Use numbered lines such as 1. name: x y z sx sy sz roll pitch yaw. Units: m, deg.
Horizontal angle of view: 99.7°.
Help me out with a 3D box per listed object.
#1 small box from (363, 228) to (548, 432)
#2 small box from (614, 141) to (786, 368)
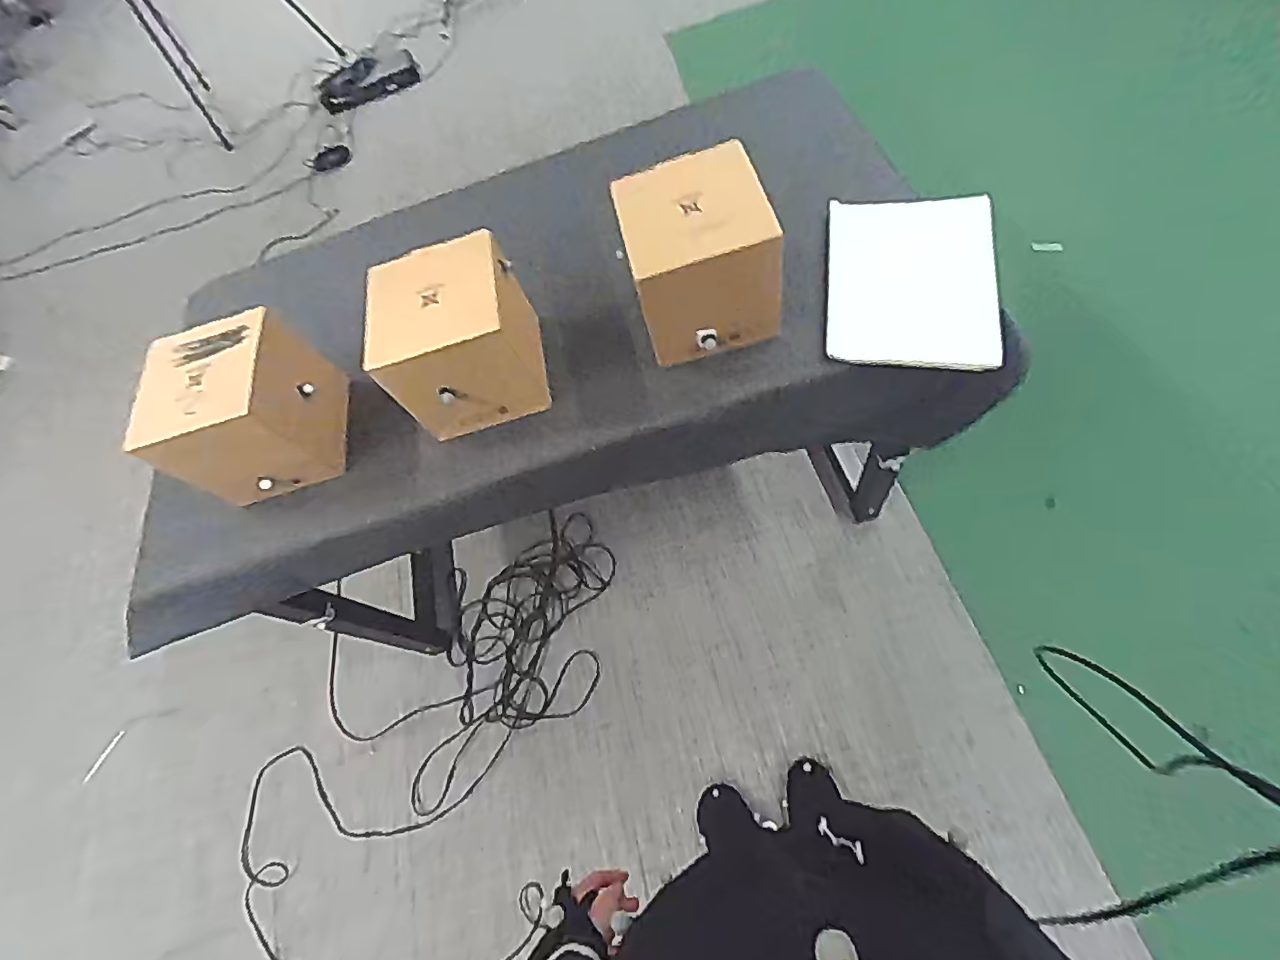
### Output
1. small box: -0.231 -0.181 0.705 0.168 0.176 0.179 -16 61 5
2. small box: 0.076 -0.274 0.680 0.168 0.176 0.179 -16 63 6
